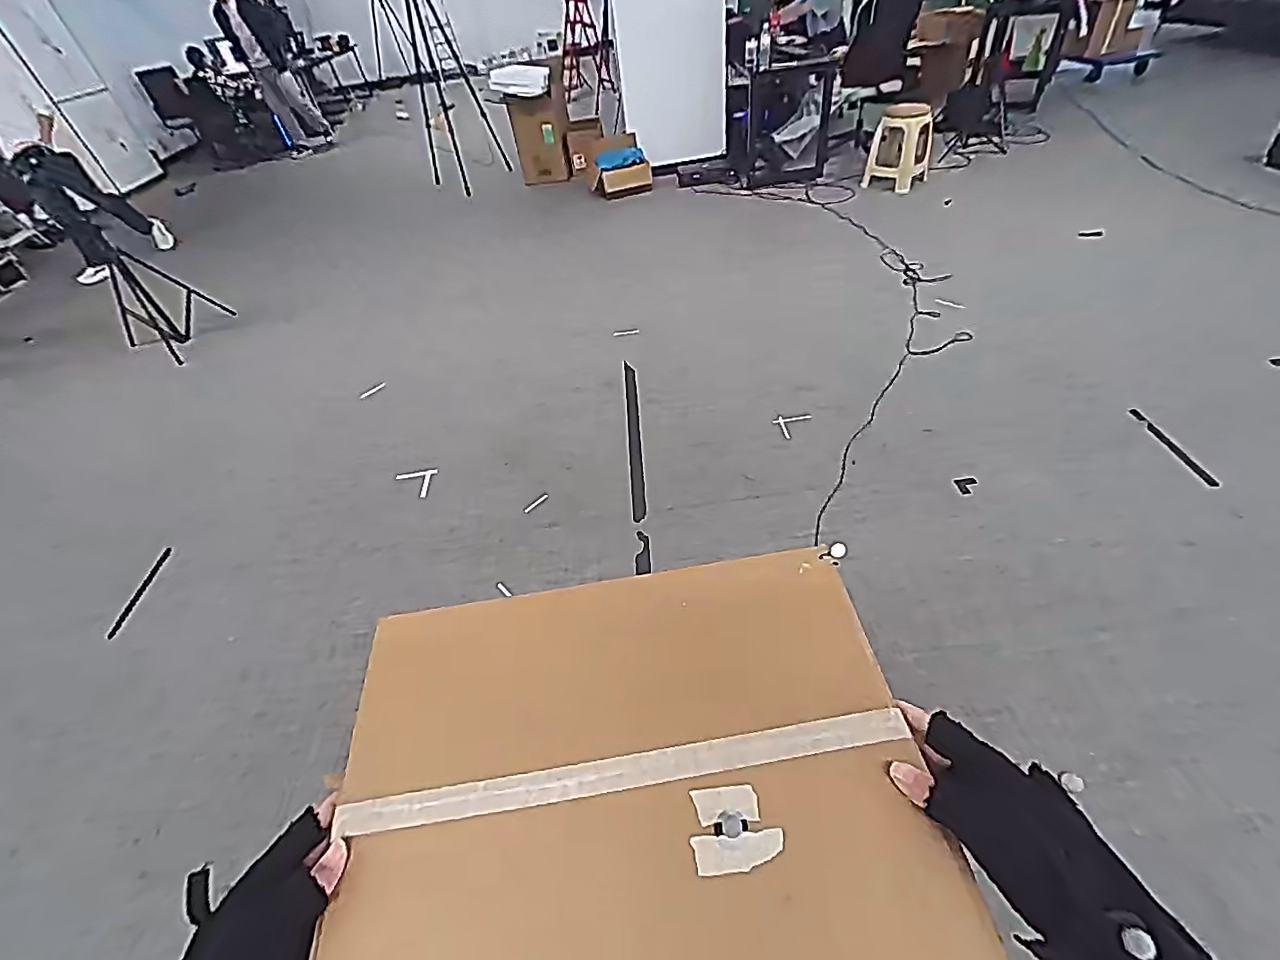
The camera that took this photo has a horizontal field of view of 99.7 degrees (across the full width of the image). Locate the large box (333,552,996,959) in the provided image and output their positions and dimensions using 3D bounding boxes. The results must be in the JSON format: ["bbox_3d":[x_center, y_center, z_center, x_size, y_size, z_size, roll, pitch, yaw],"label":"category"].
[{"bbox_3d":[0.003,0.309,0.509,0.408,0.320,0.320,-9,49,-2],"label":"large box"}]
